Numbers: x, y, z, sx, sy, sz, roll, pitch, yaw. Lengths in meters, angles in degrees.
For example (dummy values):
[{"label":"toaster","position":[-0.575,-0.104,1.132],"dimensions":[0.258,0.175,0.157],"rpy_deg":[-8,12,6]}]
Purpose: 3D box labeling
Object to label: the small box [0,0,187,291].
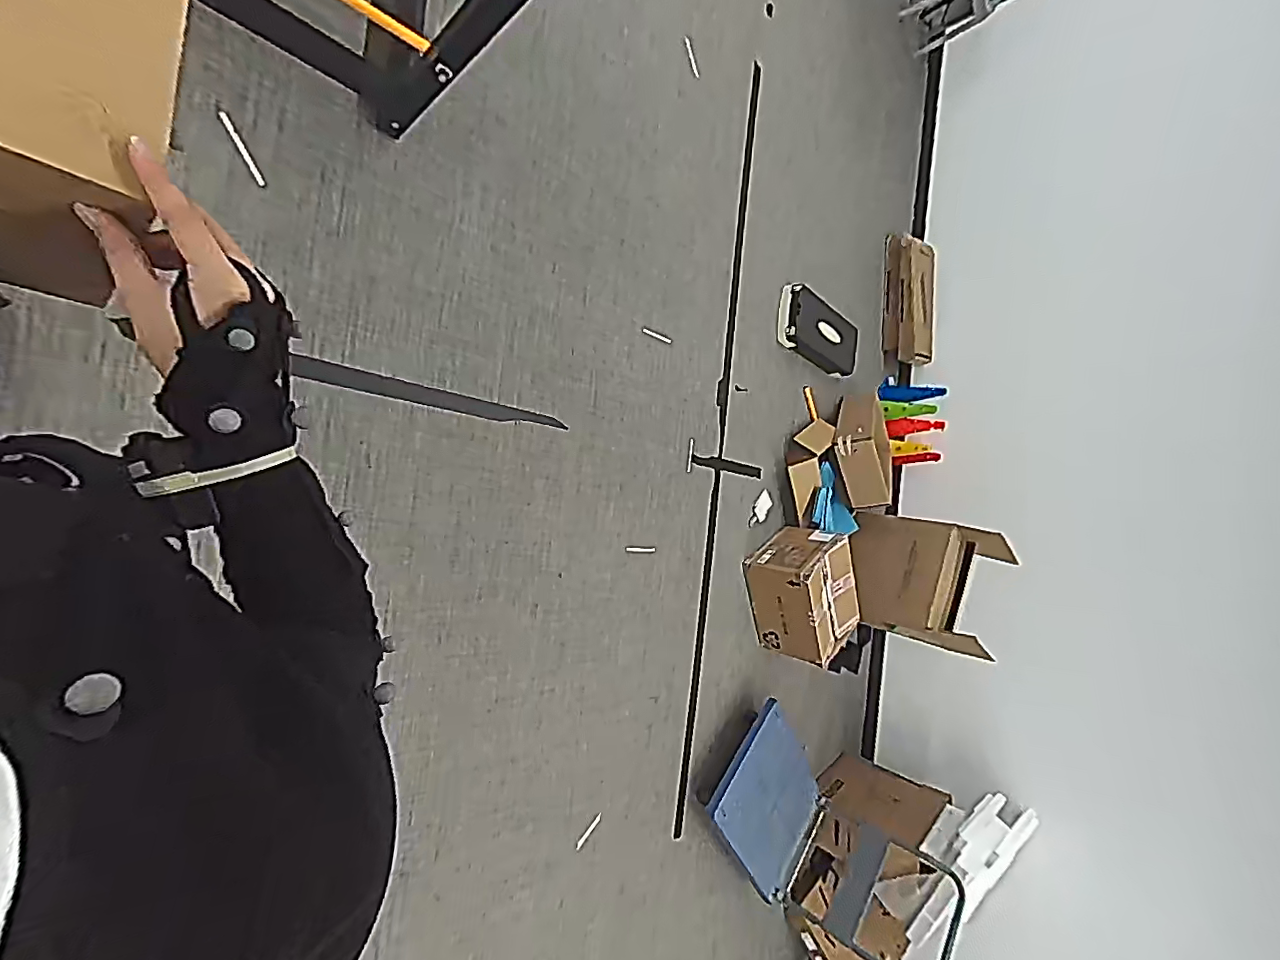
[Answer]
[{"label":"small box","position":[-0.390,-0.236,0.306],"dimensions":[0.168,0.176,0.179],"rpy_deg":[11,72,-52]}]
